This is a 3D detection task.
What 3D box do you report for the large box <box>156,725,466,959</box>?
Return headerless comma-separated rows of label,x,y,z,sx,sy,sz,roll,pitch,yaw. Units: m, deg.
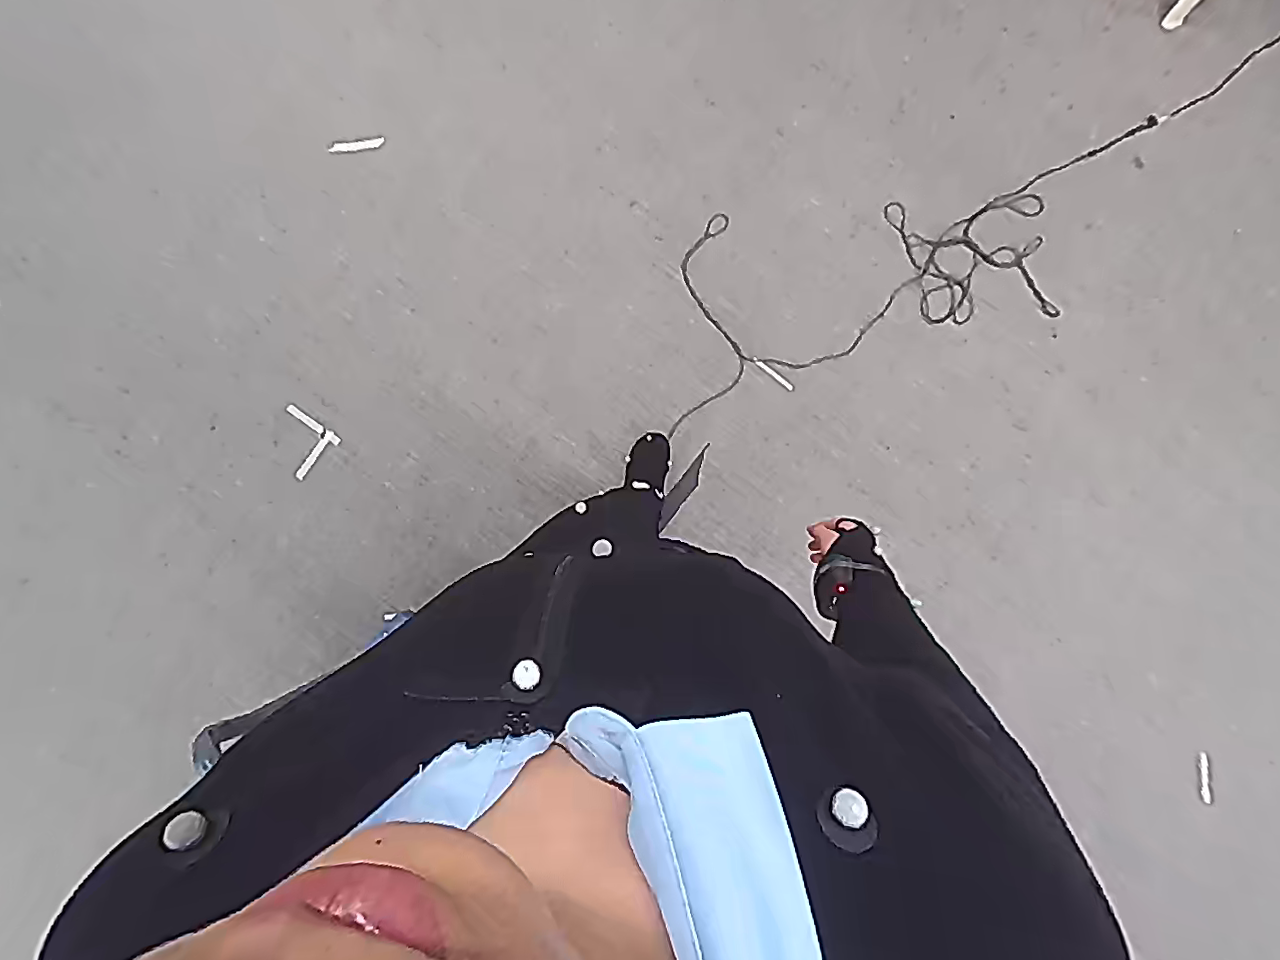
large box,-0.661,0.825,1.160,0.408,0.320,0.320,42,89,0
